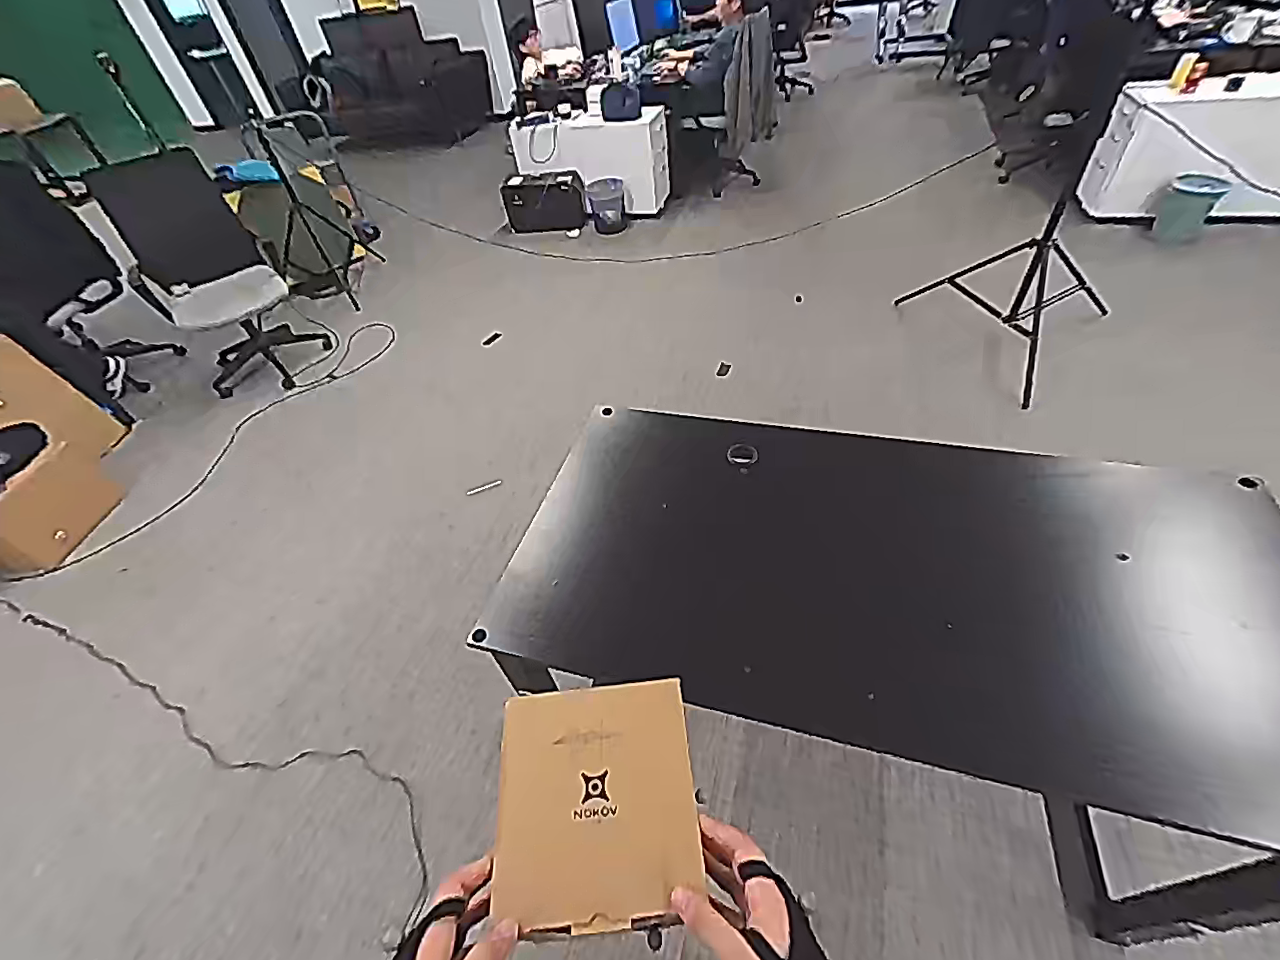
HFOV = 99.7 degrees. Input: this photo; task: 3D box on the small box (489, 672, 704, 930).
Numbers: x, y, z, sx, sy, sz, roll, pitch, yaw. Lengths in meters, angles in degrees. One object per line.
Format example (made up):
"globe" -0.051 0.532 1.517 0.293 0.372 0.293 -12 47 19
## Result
"small box" -0.034 0.307 0.513 0.168 0.176 0.179 -6 48 -2
